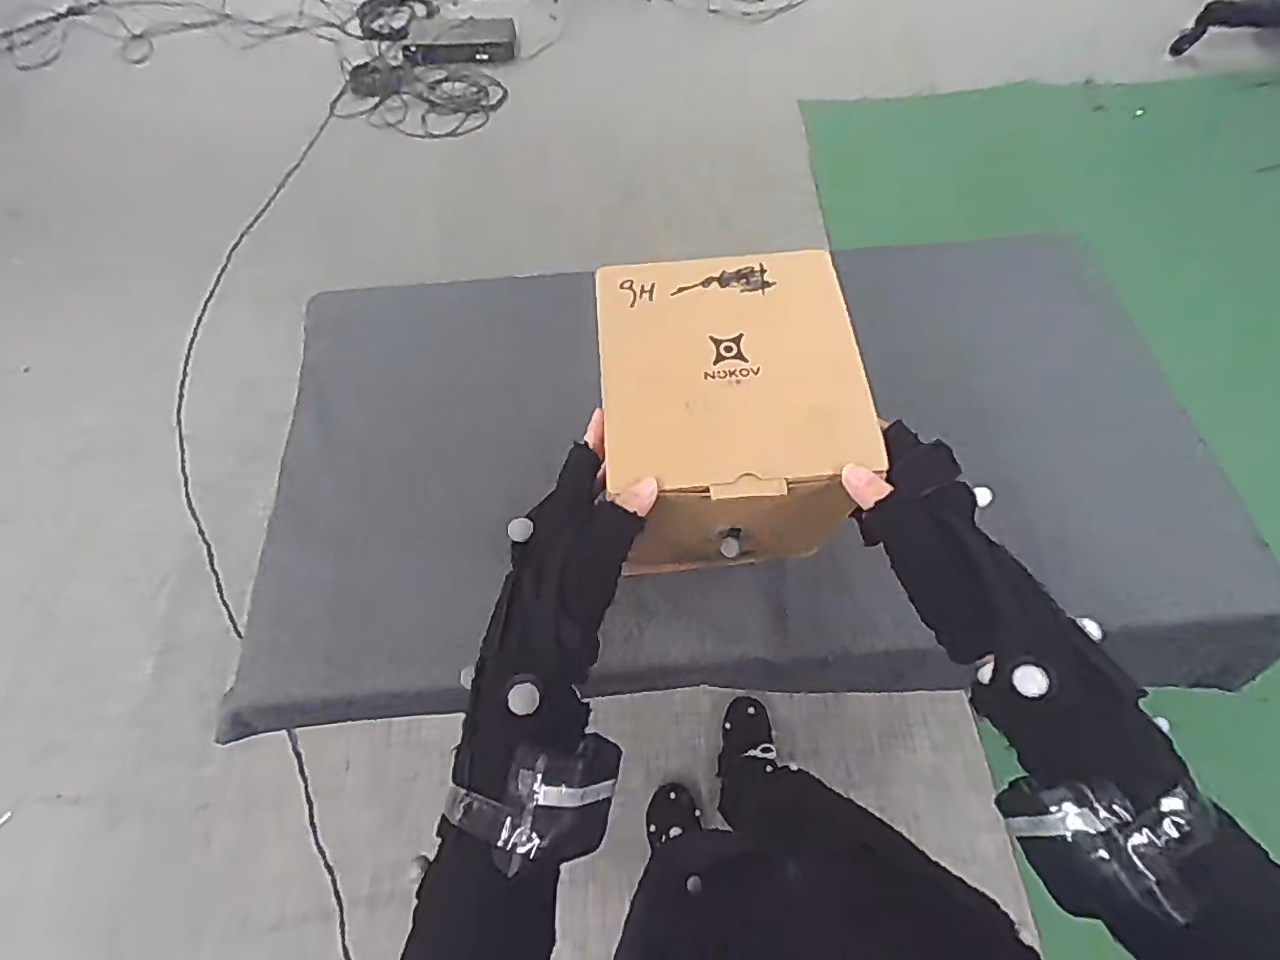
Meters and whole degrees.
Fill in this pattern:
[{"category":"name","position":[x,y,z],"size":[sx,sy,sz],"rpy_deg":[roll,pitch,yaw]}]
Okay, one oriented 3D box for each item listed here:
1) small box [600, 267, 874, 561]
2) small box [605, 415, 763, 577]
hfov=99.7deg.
[{"category":"small box","position":[0.061,-0.038,0.435],"size":[0.168,0.176,0.179],"rpy_deg":[-5,67,0]},{"category":"small box","position":[0.058,0.008,0.627],"size":[0.179,0.176,0.168],"rpy_deg":[-6,65,-2]}]
